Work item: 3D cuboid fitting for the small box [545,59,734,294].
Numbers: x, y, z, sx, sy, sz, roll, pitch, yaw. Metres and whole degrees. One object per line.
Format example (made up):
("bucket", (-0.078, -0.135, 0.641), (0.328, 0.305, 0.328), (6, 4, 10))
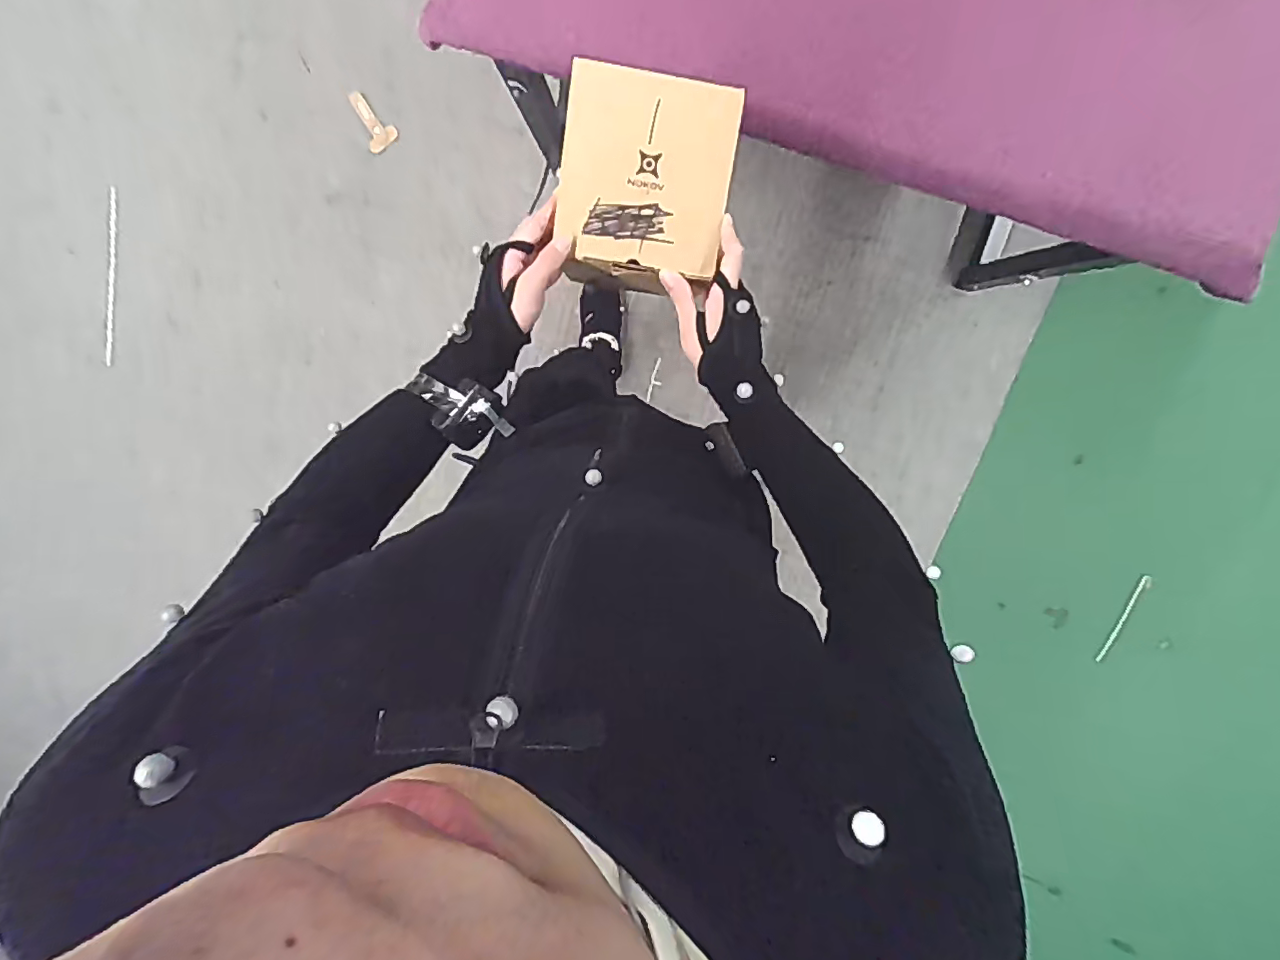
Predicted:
("small box", (-0.003, -0.315, 0.604), (0.168, 0.176, 0.179), (8, 101, -3))
